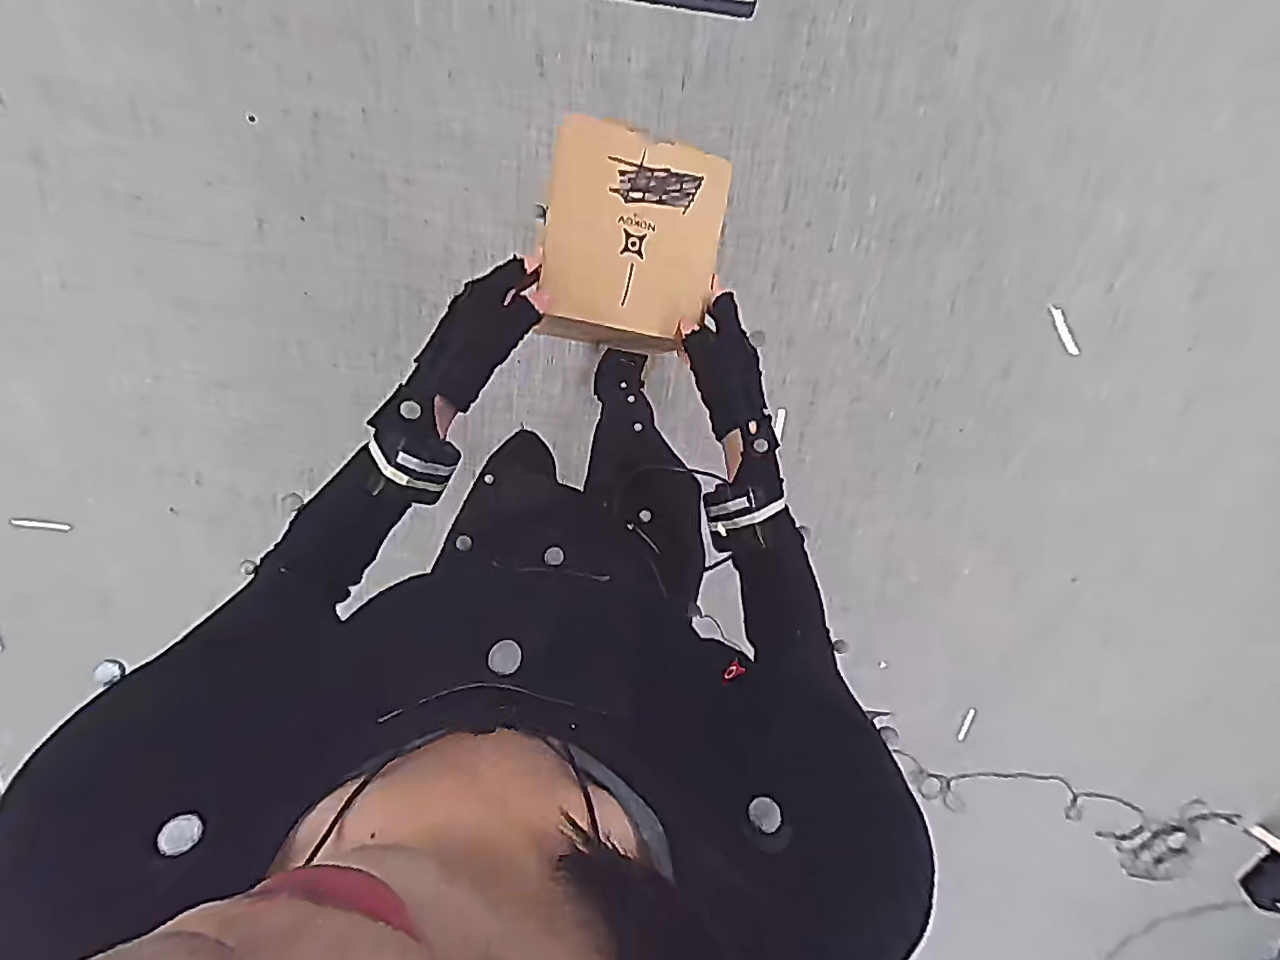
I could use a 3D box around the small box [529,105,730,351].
[{"bbox_3d":[-0.025,-0.246,0.580,0.168,0.176,0.179,8,97,-15],"label":"small box"}]
